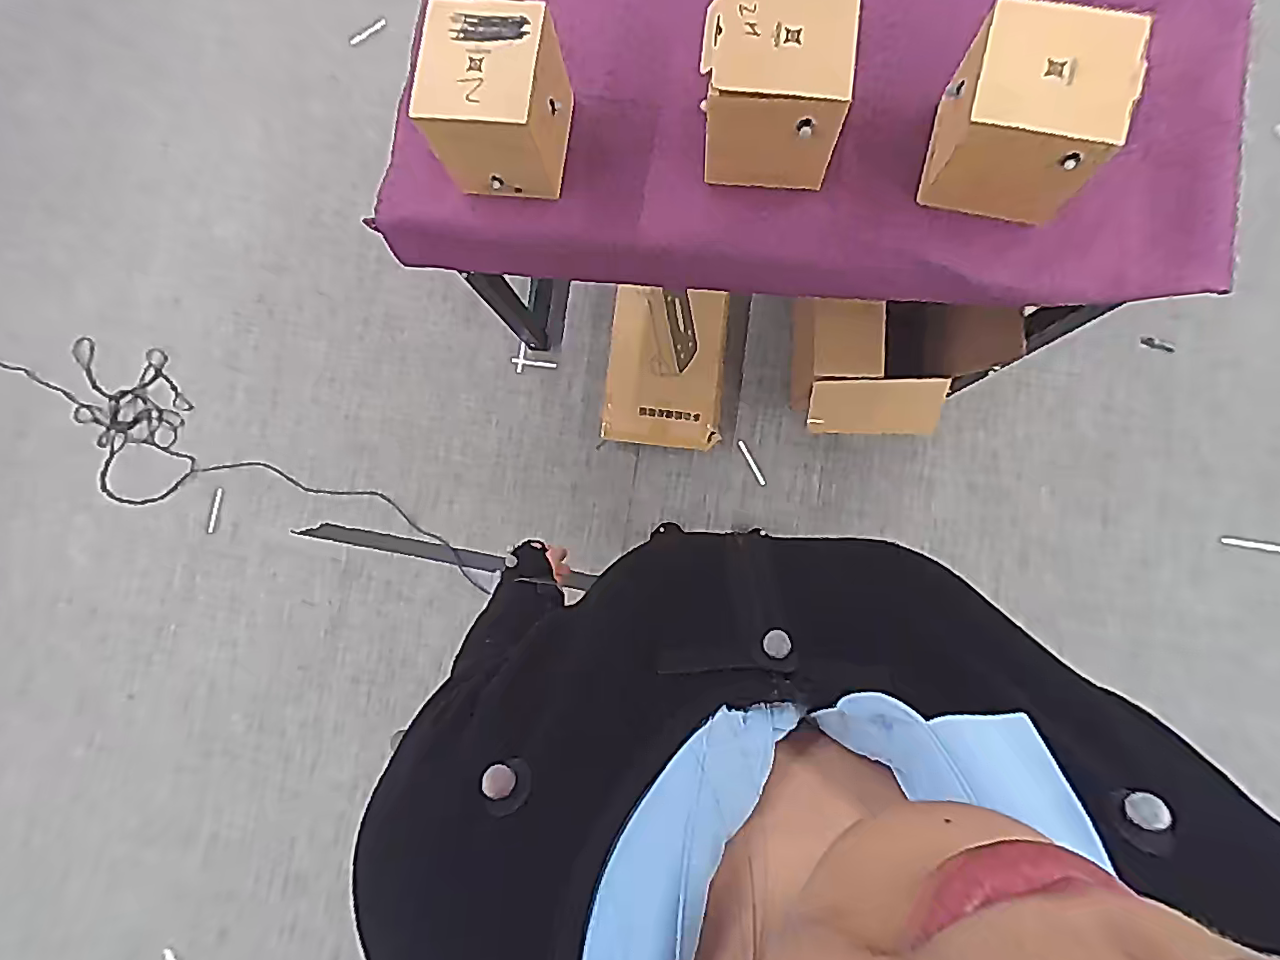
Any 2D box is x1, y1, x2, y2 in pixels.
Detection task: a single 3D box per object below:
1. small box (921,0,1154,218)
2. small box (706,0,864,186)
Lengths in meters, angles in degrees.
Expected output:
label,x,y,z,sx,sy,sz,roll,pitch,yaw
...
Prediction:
label,x,y,z,sx,sy,sz,roll,pitch,yaw
small box,0.499,-0.474,0.708,0.179,0.176,0.168,14,86,7
small box,0.188,-0.534,0.744,0.179,0.176,0.168,7,83,6
